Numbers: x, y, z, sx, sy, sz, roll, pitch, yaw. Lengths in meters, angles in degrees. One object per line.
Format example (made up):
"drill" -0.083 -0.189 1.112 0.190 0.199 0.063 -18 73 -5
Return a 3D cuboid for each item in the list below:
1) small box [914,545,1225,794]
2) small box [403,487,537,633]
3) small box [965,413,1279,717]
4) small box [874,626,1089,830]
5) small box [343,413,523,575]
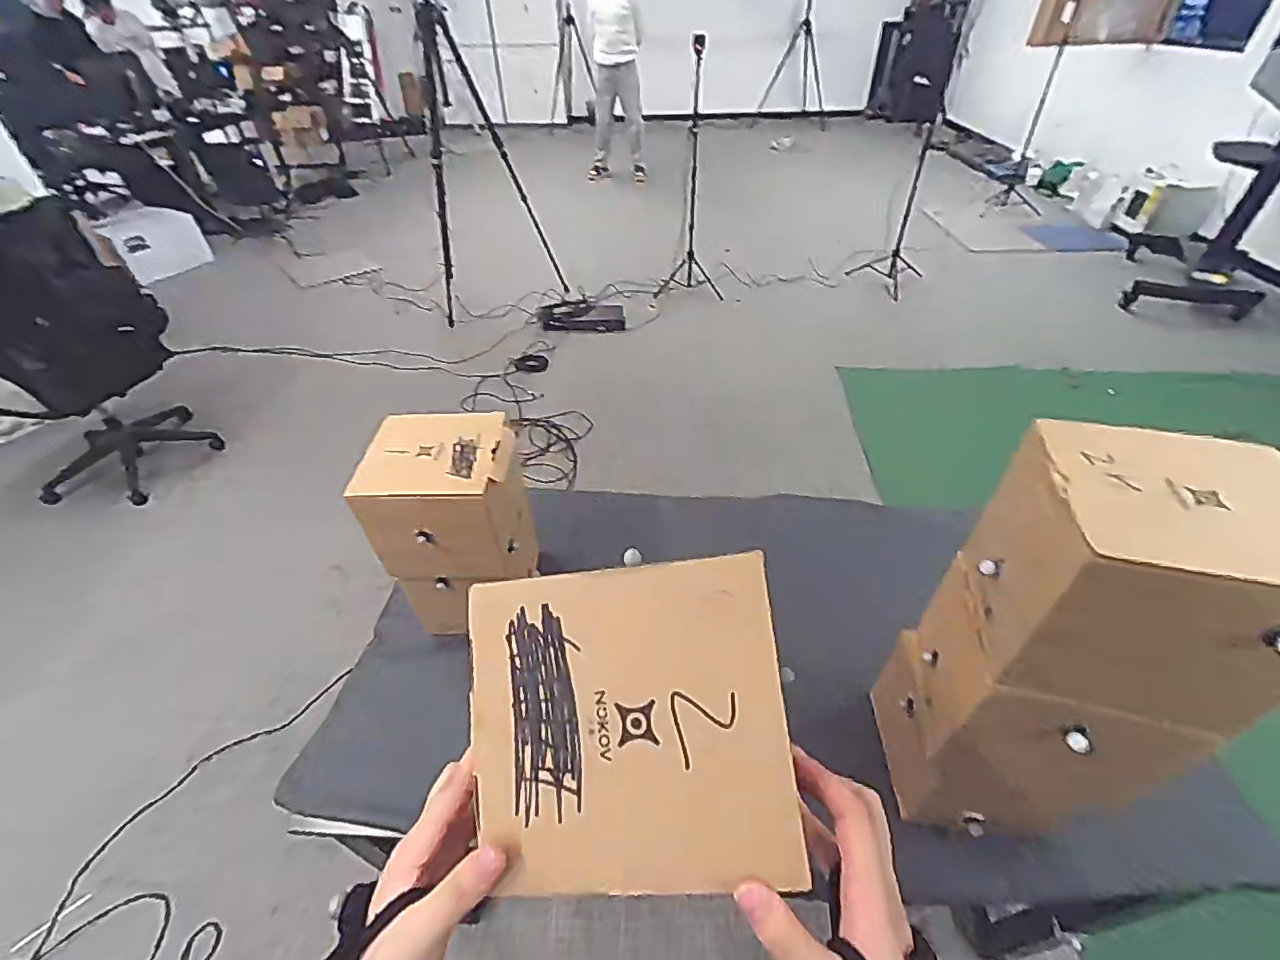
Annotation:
"small box" 0.404 0.194 0.554 0.179 0.176 0.168 8 42 13
"small box" -0.269 0.131 0.893 0.168 0.176 0.179 -1 43 1
"small box" 0.402 0.069 0.446 0.179 0.176 0.168 9 42 14
"small box" 0.410 0.305 0.673 0.168 0.176 0.179 1 42 5
"small box" -0.273 0.022 0.768 0.179 0.176 0.168 -1 44 1
